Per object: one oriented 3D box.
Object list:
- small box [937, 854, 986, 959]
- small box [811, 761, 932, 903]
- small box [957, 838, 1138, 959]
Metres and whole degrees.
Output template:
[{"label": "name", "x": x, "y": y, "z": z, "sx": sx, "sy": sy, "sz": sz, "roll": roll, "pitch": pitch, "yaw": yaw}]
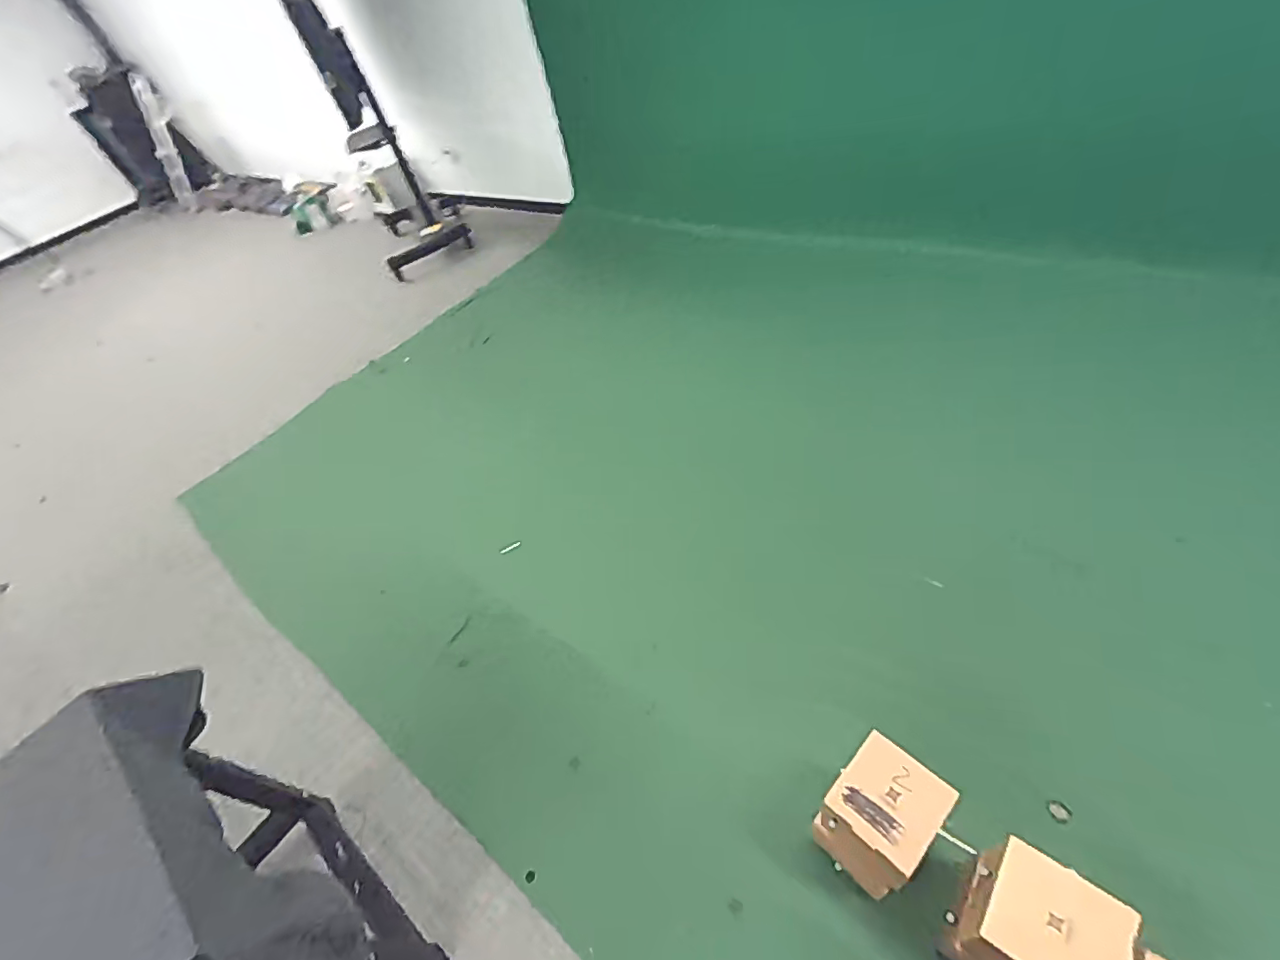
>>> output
[{"label": "small box", "x": 0.665, "y": 0.839, "z": 0.992, "sx": 0.168, "sy": 0.176, "sz": 0.179, "roll": 22, "pitch": 56, "yaw": 30}, {"label": "small box", "x": 0.475, "y": 0.739, "z": 1.136, "sx": 0.179, "sy": 0.176, "sz": 0.168, "roll": -39, "pitch": 50, "yaw": -20}, {"label": "small box", "x": 0.643, "y": 0.730, "z": 0.873, "sx": 0.179, "sy": 0.176, "sz": 0.168, "roll": 25, "pitch": 58, "yaw": 32}]
